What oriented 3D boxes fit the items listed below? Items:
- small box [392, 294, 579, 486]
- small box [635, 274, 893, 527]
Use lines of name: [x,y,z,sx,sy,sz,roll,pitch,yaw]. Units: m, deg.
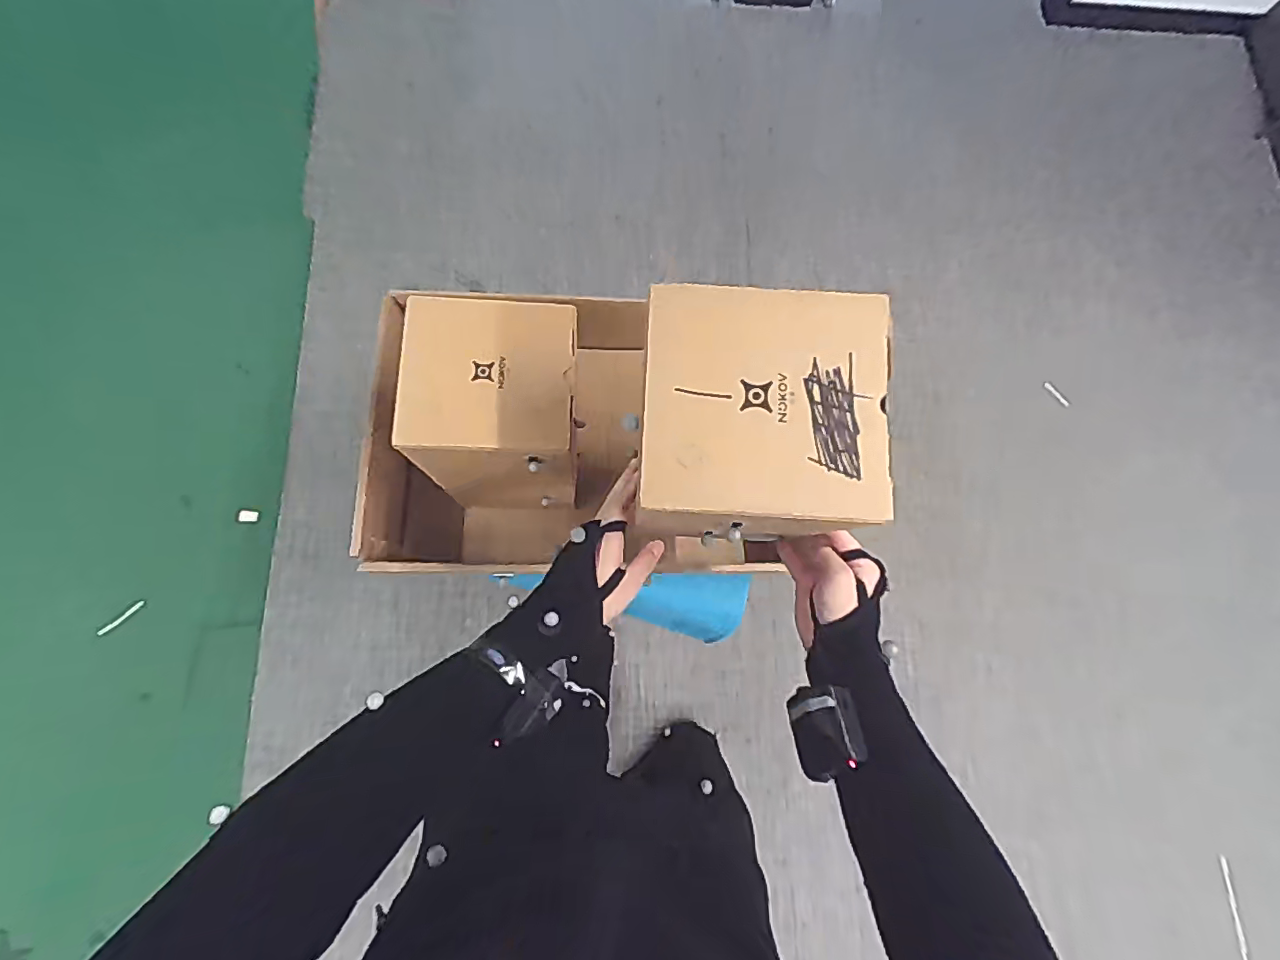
small box: [-0.161,-0.092,0.625,0.179,0.176,0.168,2,75,-6]
small box: [0.088,-0.050,0.456,0.179,0.176,0.168,3,80,0]
